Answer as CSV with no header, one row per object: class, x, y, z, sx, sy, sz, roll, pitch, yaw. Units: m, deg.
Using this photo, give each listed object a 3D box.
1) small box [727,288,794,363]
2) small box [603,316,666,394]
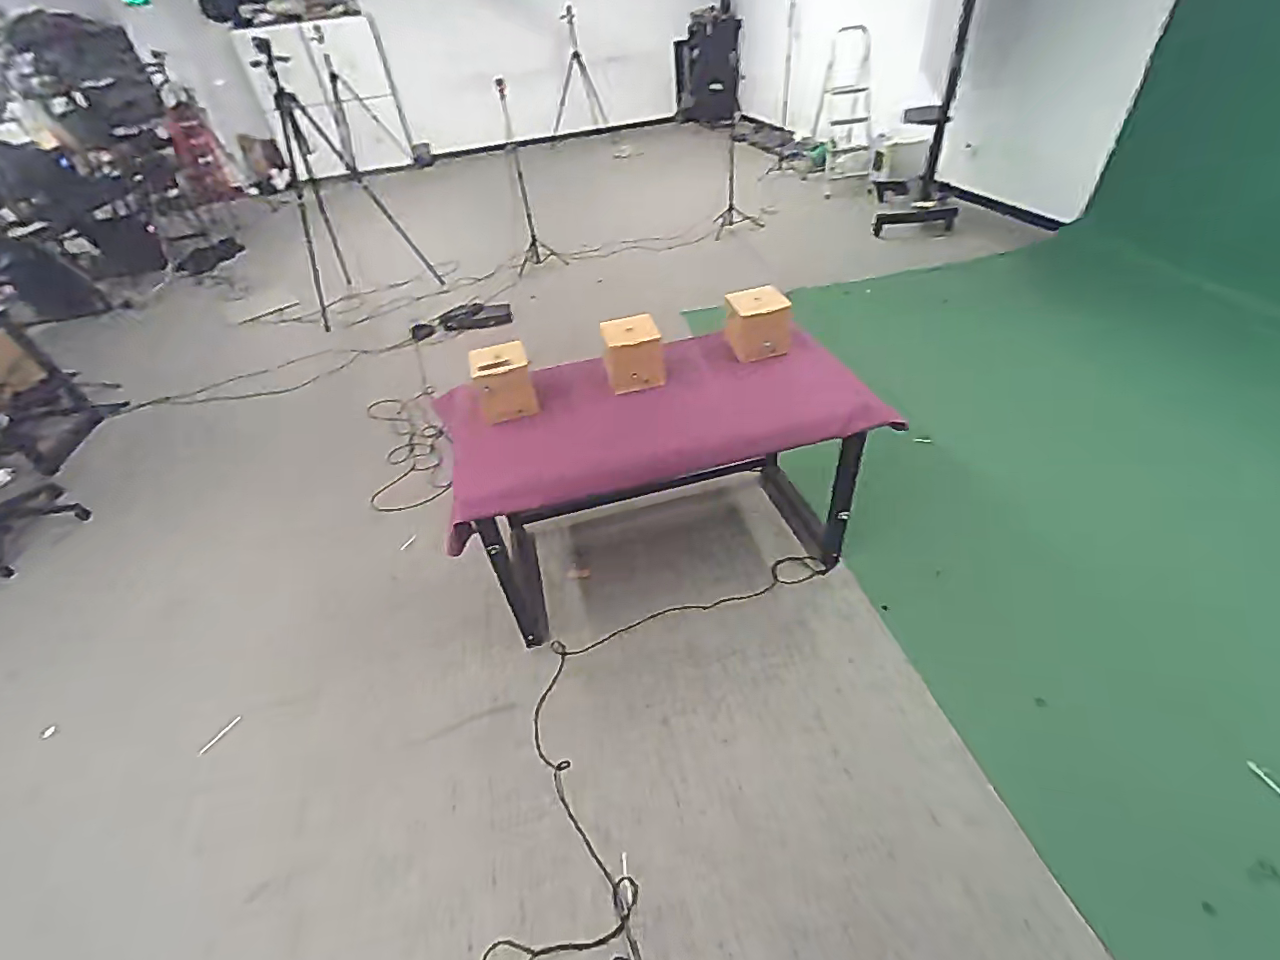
small box,0.391,-0.508,1.781,0.168,0.176,0.179,-14,42,-4
small box,-0.019,-0.397,1.720,0.168,0.176,0.179,-12,43,-7
